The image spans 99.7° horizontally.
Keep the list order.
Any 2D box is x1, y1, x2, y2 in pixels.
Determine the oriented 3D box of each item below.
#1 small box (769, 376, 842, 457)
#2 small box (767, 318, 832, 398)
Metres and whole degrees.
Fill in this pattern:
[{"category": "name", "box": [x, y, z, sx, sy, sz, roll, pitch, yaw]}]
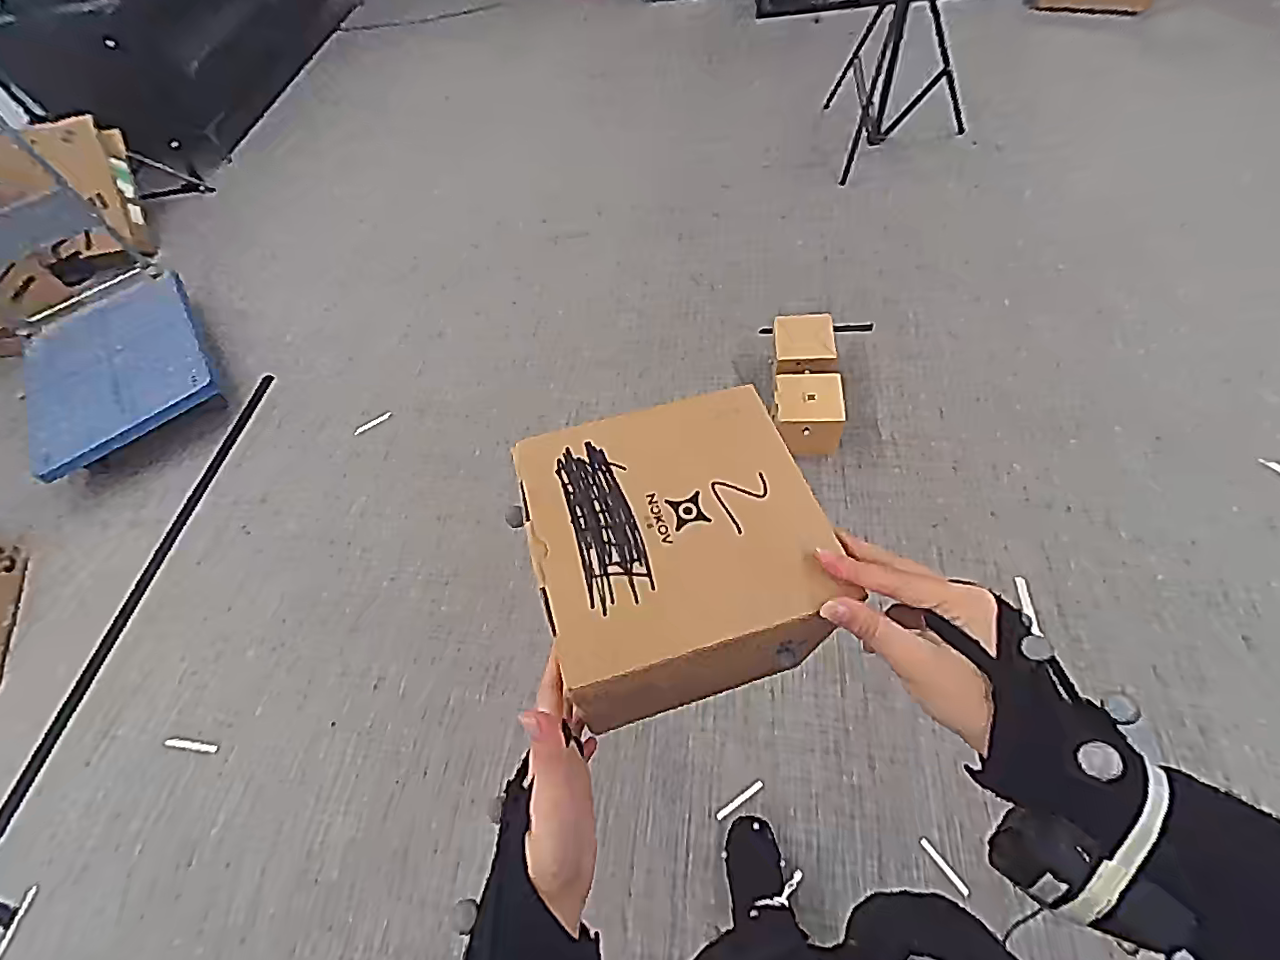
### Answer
[{"category": "small box", "box": [0.464, -0.177, 1.540, 0.179, 0.176, 0.168, 1, 60, 9]}, {"category": "small box", "box": [0.482, -0.372, 1.648, 0.168, 0.176, 0.179, 0, 59, 9]}]
